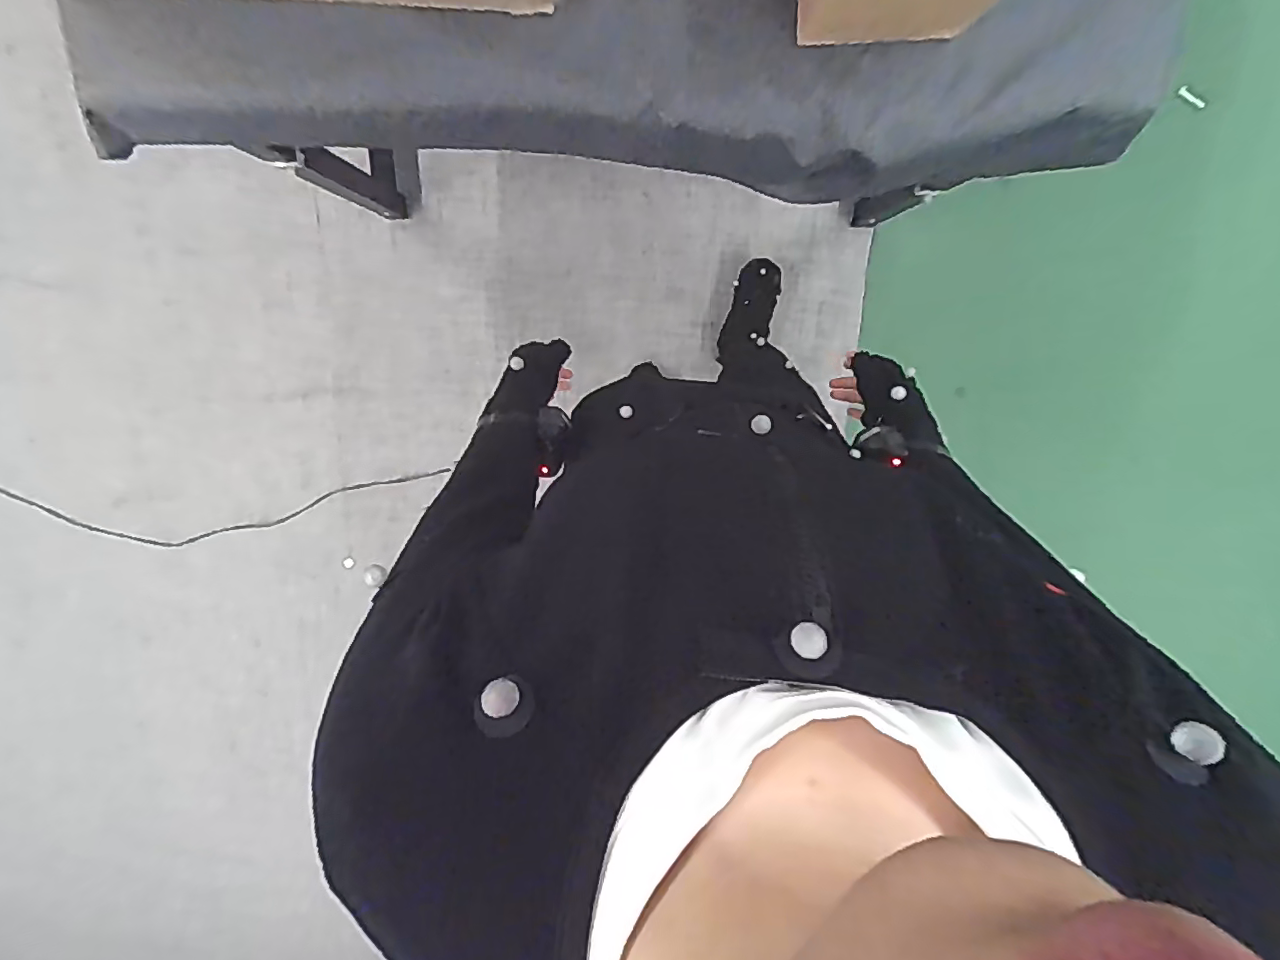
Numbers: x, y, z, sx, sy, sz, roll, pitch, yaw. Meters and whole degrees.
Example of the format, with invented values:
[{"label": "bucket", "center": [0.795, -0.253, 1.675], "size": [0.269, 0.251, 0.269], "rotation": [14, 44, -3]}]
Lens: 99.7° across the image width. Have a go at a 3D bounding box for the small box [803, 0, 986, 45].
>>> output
[{"label": "small box", "center": [0.261, -0.543, 0.505], "size": [0.179, 0.176, 0.168], "rotation": [-3, 106, -1]}]
